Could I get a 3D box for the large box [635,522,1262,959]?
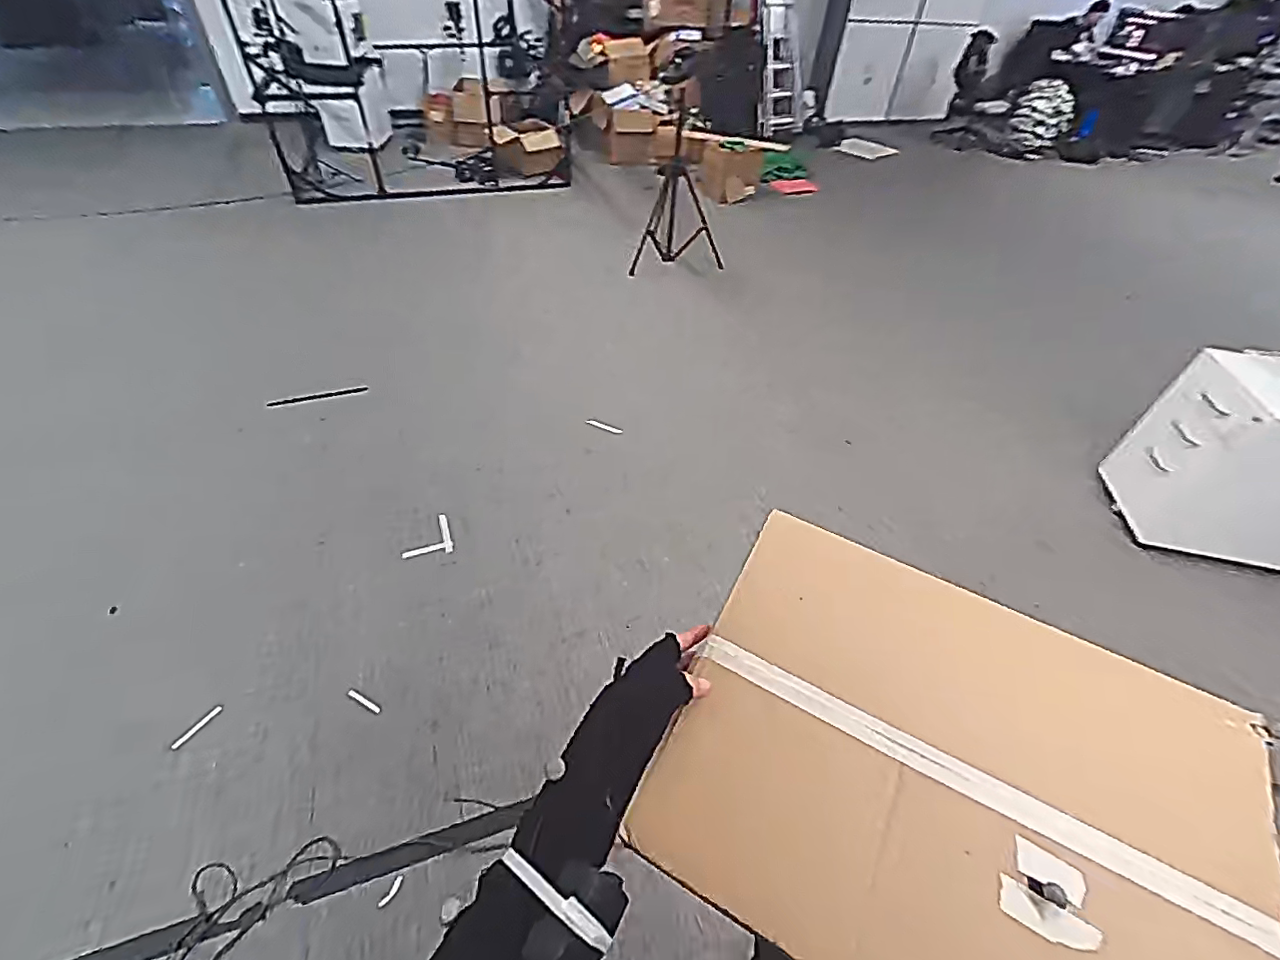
[{"bbox_3d":[0.240,0.309,0.541,0.408,0.320,0.320,24,60,17],"label":"large box"}]
